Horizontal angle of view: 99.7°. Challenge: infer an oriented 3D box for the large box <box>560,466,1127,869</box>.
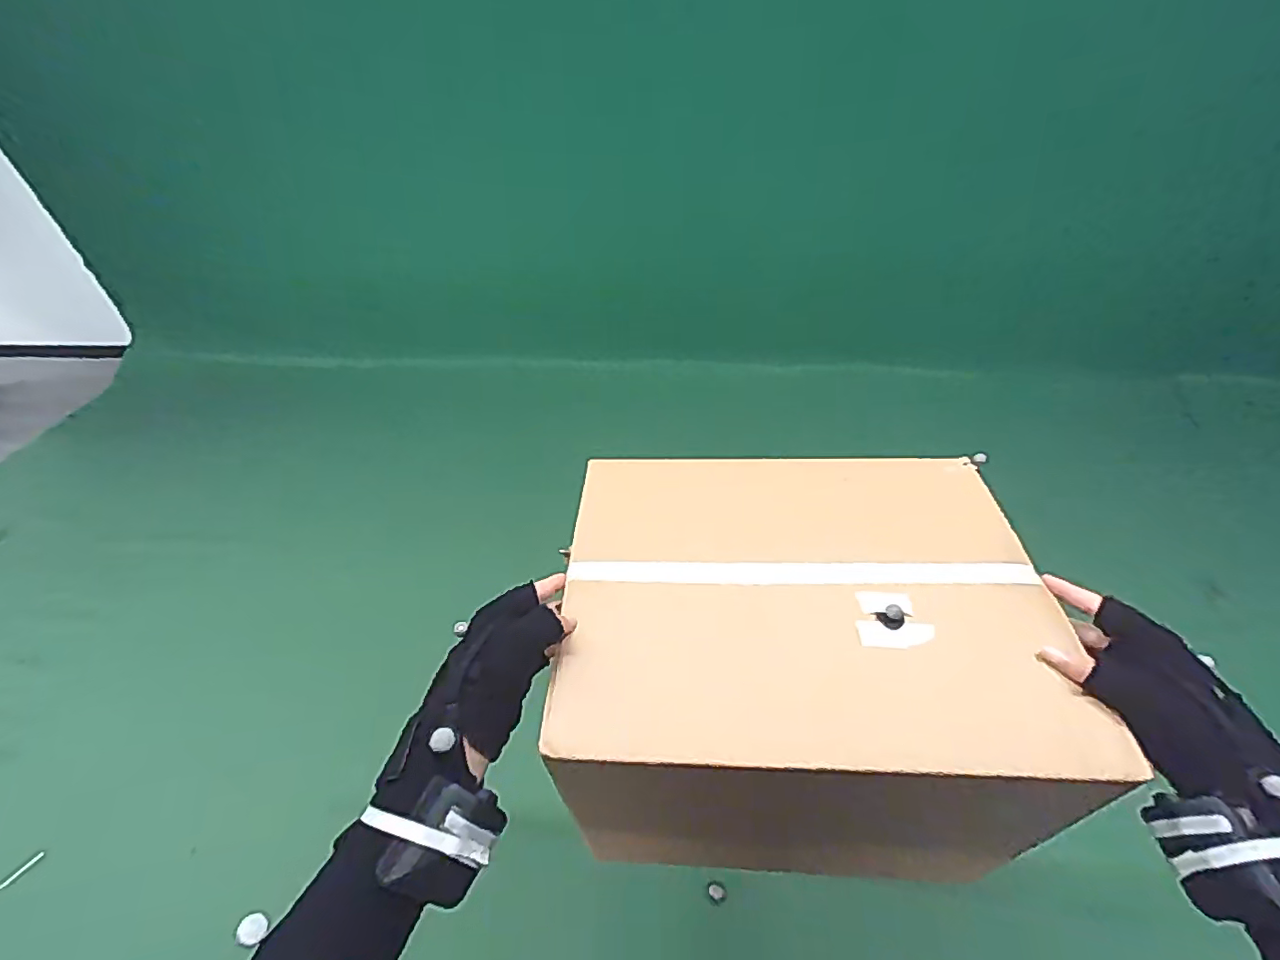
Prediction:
[{"bbox_3d":[0.148,0.199,0.587,0.408,0.320,0.320,0,44,4],"label":"large box"}]
